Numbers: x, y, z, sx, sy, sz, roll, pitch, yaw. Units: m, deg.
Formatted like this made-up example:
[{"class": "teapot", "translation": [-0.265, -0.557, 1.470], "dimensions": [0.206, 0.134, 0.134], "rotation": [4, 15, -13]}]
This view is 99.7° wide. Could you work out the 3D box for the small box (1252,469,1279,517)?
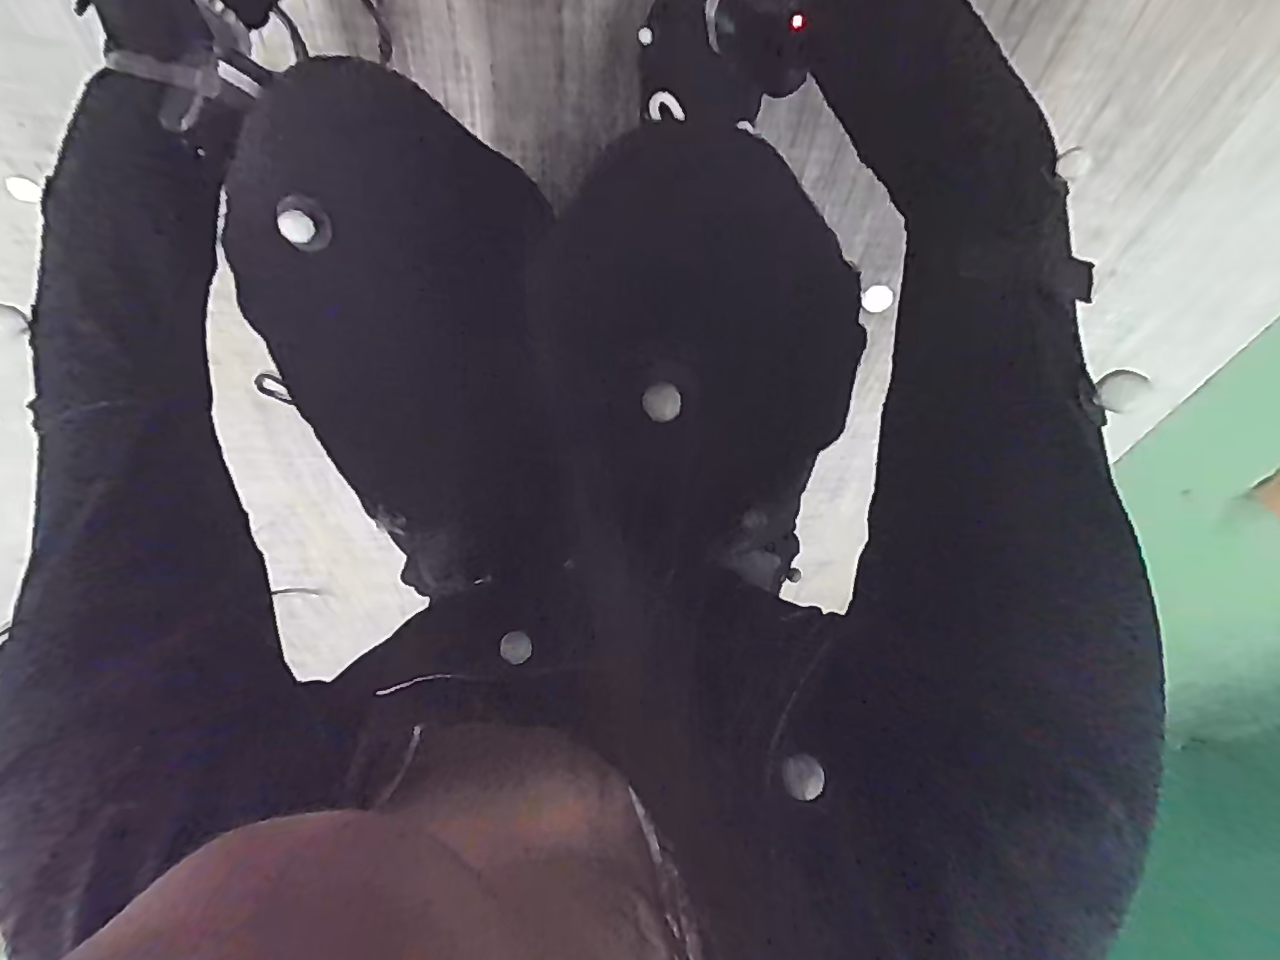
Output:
[{"class": "small box", "translation": [1.468, 0.029, 1.120], "dimensions": [0.179, 0.176, 0.168], "rotation": [-2, 141, -8]}]
